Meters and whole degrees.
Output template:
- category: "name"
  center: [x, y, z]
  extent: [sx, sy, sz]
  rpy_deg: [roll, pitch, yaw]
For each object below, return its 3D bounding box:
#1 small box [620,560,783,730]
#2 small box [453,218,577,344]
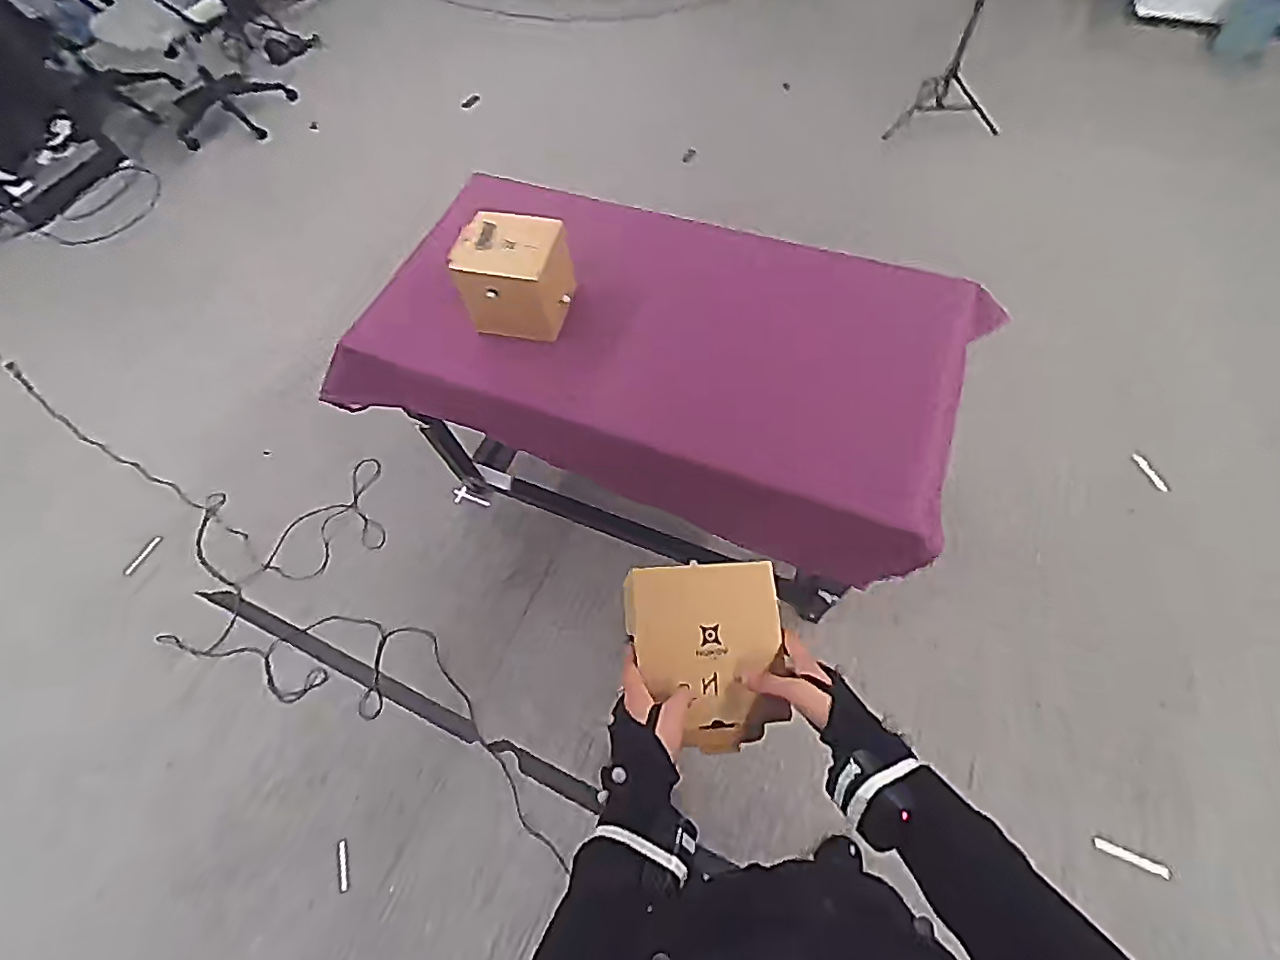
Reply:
- category: "small box"
  center: [0.063, 0.201, 0.675]
  extent: [0.168, 0.176, 0.179]
  rpy_deg: [-2, 74, -5]
- category: "small box"
  center: [-0.243, -0.398, 1.095]
  extent: [0.179, 0.176, 0.168]
  rpy_deg: [10, 64, 9]
